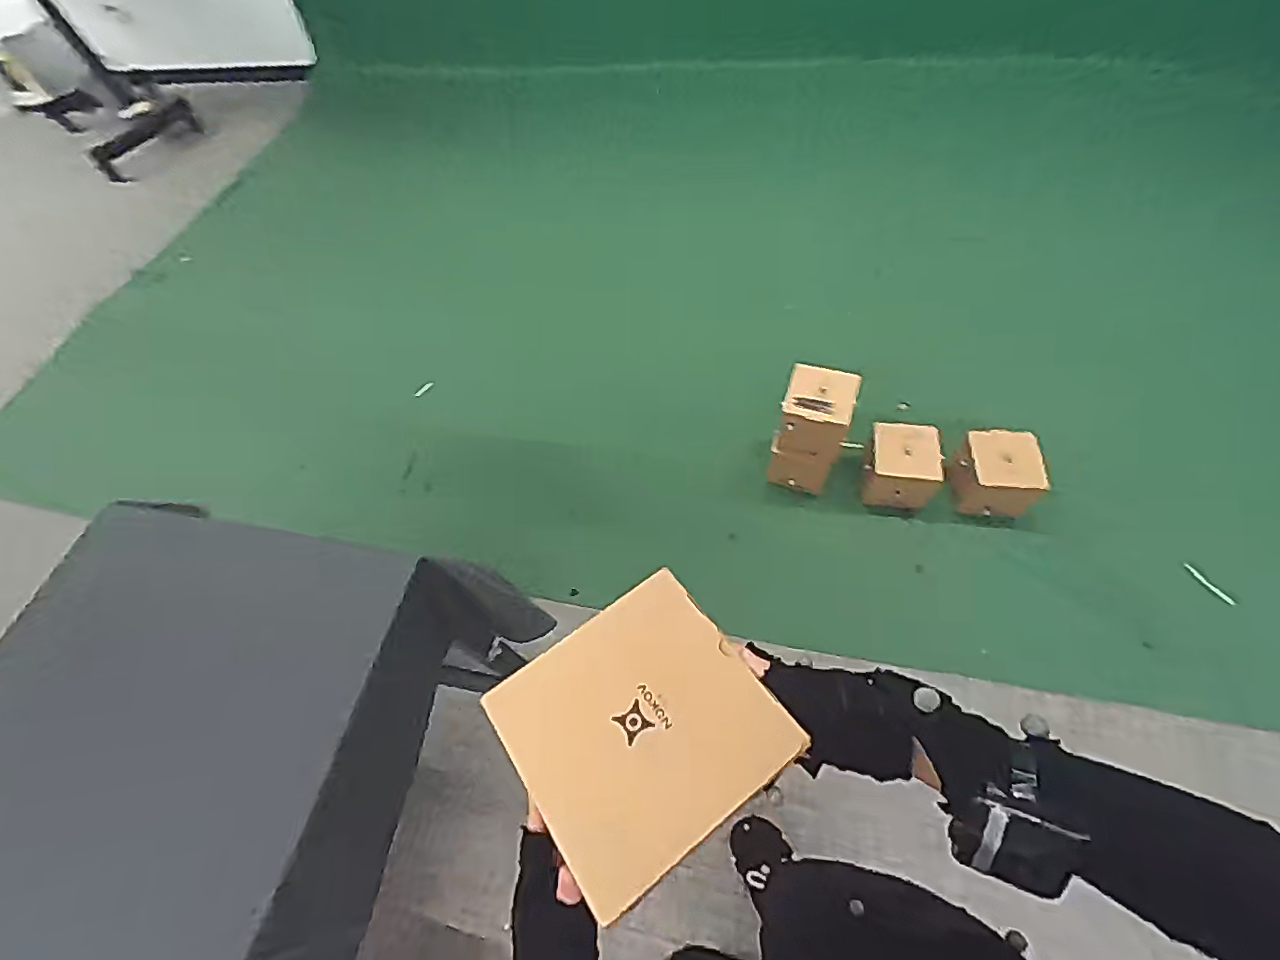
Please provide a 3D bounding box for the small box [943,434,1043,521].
[{"bbox_3d":[0.966,-0.007,1.497,0.168,0.176,0.179,3,59,8],"label":"small box"}]

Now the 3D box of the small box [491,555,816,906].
[{"bbox_3d":[0.011,0.201,0.442,0.179,0.176,0.168,-31,59,-17],"label":"small box"}]

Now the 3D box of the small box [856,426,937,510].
[{"bbox_3d":[0.721,-0.030,1.536,0.168,0.176,0.179,7,59,9],"label":"small box"}]

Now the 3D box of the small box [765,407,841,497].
[{"bbox_3d":[0.475,-0.080,1.593,0.168,0.176,0.179,17,63,17],"label":"small box"}]
